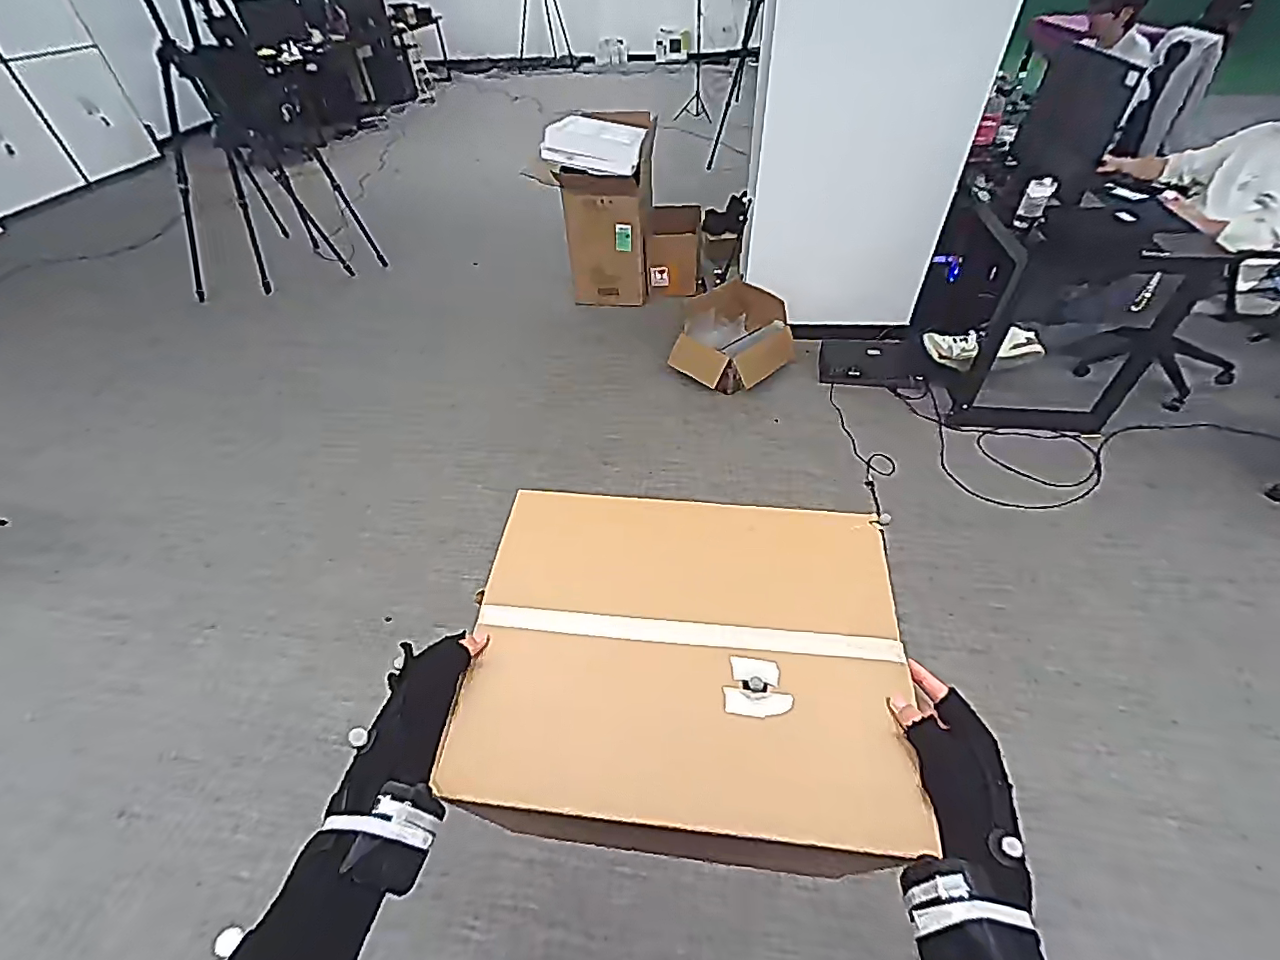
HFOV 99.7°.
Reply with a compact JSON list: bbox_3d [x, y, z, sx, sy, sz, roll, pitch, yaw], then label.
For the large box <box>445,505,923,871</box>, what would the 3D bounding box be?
[{"bbox_3d":[0.046,0.252,0.650,0.408,0.320,0.320,4,53,5],"label":"large box"}]
